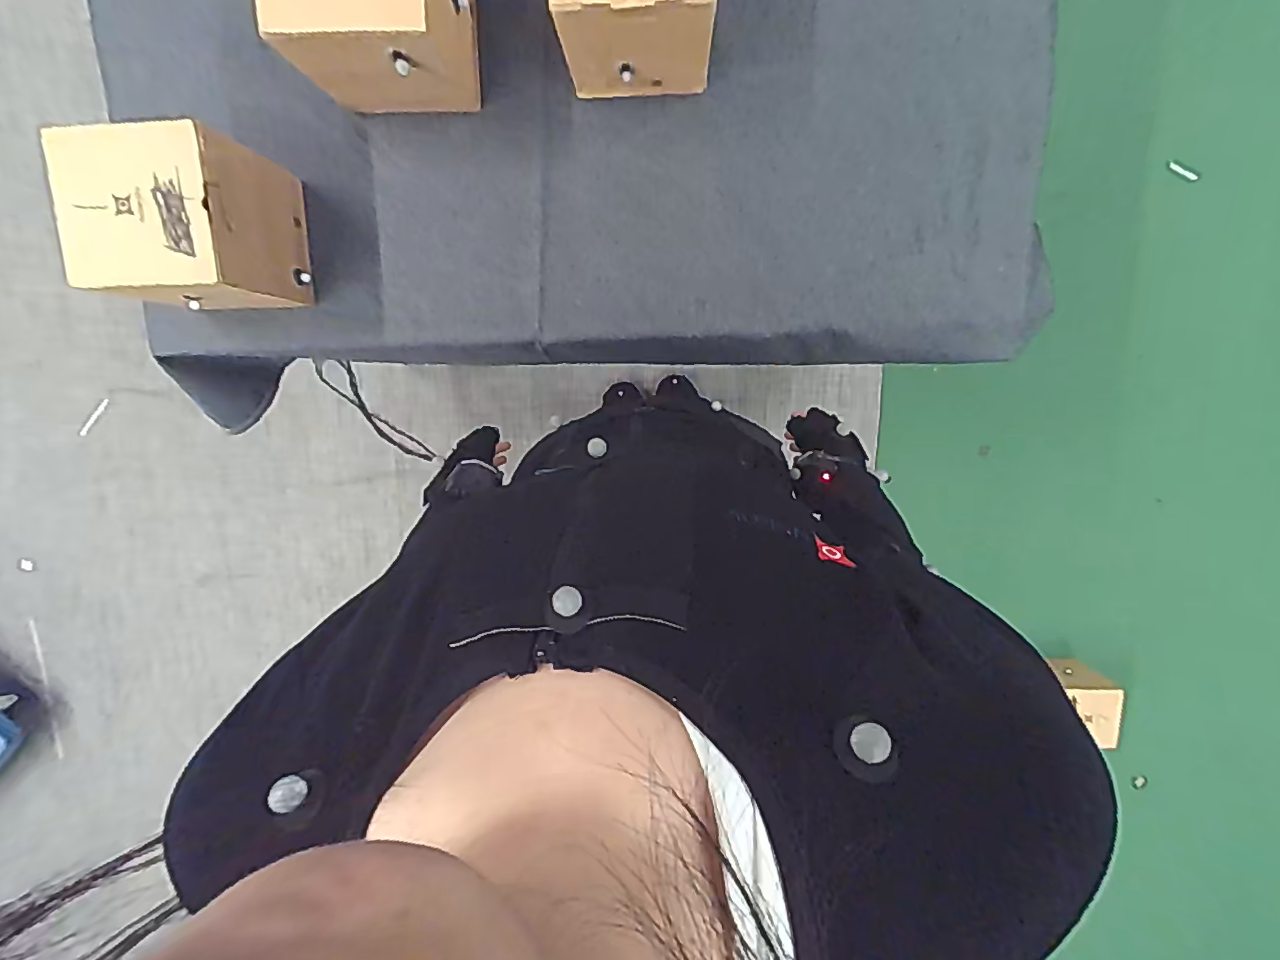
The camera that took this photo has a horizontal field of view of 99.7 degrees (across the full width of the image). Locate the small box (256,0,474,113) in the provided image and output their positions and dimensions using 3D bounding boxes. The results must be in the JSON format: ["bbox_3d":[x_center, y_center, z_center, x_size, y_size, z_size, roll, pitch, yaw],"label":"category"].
[{"bbox_3d":[-0.295,-0.542,0.607,0.179,0.176,0.168,1,100,2],"label":"small box"}]

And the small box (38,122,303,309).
[{"bbox_3d":[-0.542,-0.306,0.657,0.179,0.176,0.168,-1,99,3],"label":"small box"}]

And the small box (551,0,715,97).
[{"bbox_3d":[-0.006,-0.563,0.597,0.168,0.176,0.179,-1,100,2],"label":"small box"}]
